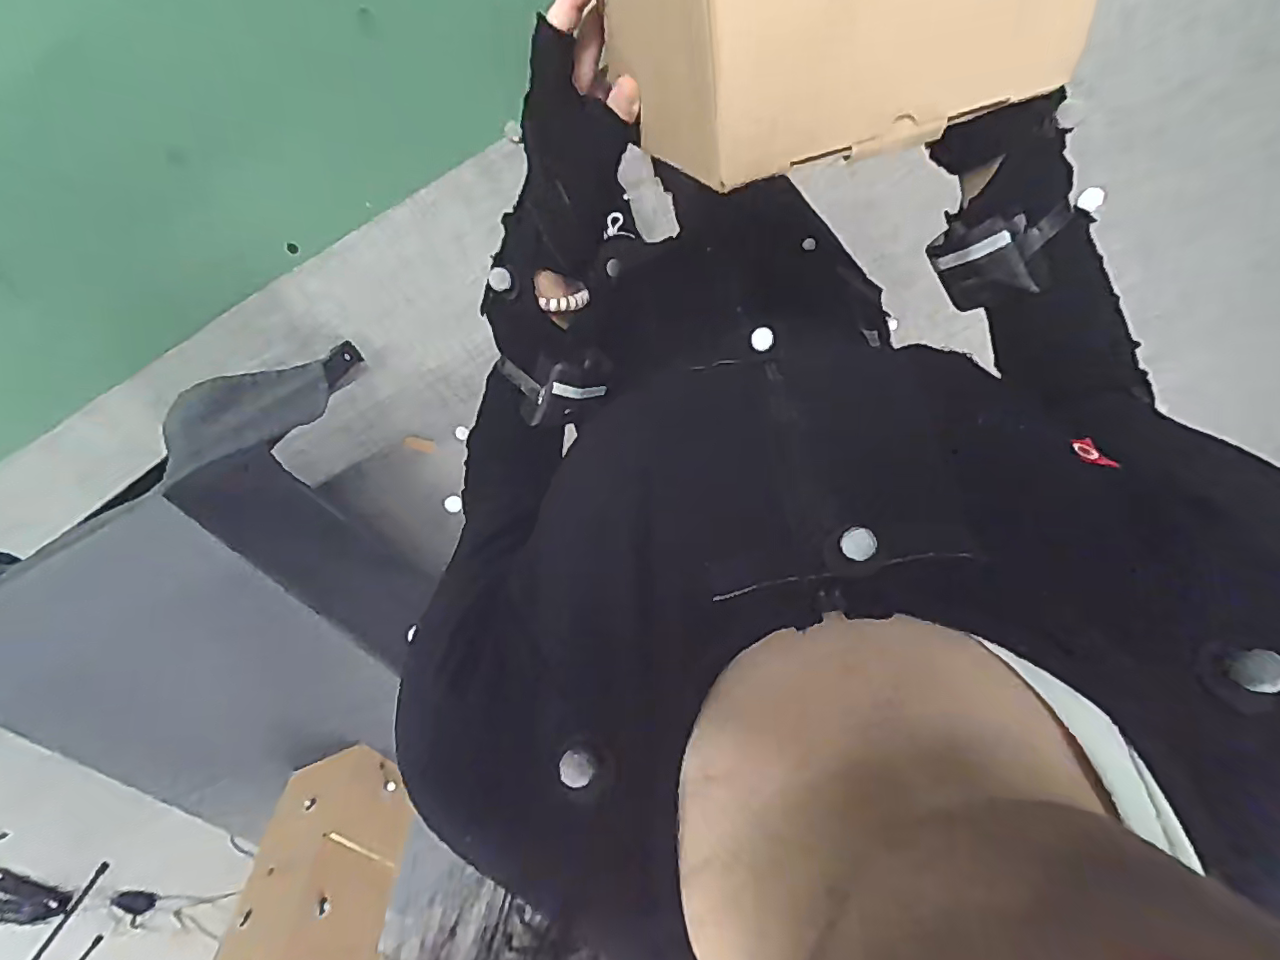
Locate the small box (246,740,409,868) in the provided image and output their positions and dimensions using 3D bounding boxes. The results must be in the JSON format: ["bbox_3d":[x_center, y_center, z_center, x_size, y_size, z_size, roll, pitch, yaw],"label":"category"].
[{"bbox_3d":[-0.569,0.627,1.014,0.179,0.176,0.168,-26,122,8],"label":"small box"}]

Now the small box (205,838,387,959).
[{"bbox_3d":[-0.554,0.717,0.878,0.168,0.176,0.179,-27,121,11],"label":"small box"}]

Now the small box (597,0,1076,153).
[{"bbox_3d":[0.068,-0.270,0.230,0.168,0.176,0.179,-19,132,-5],"label":"small box"}]
